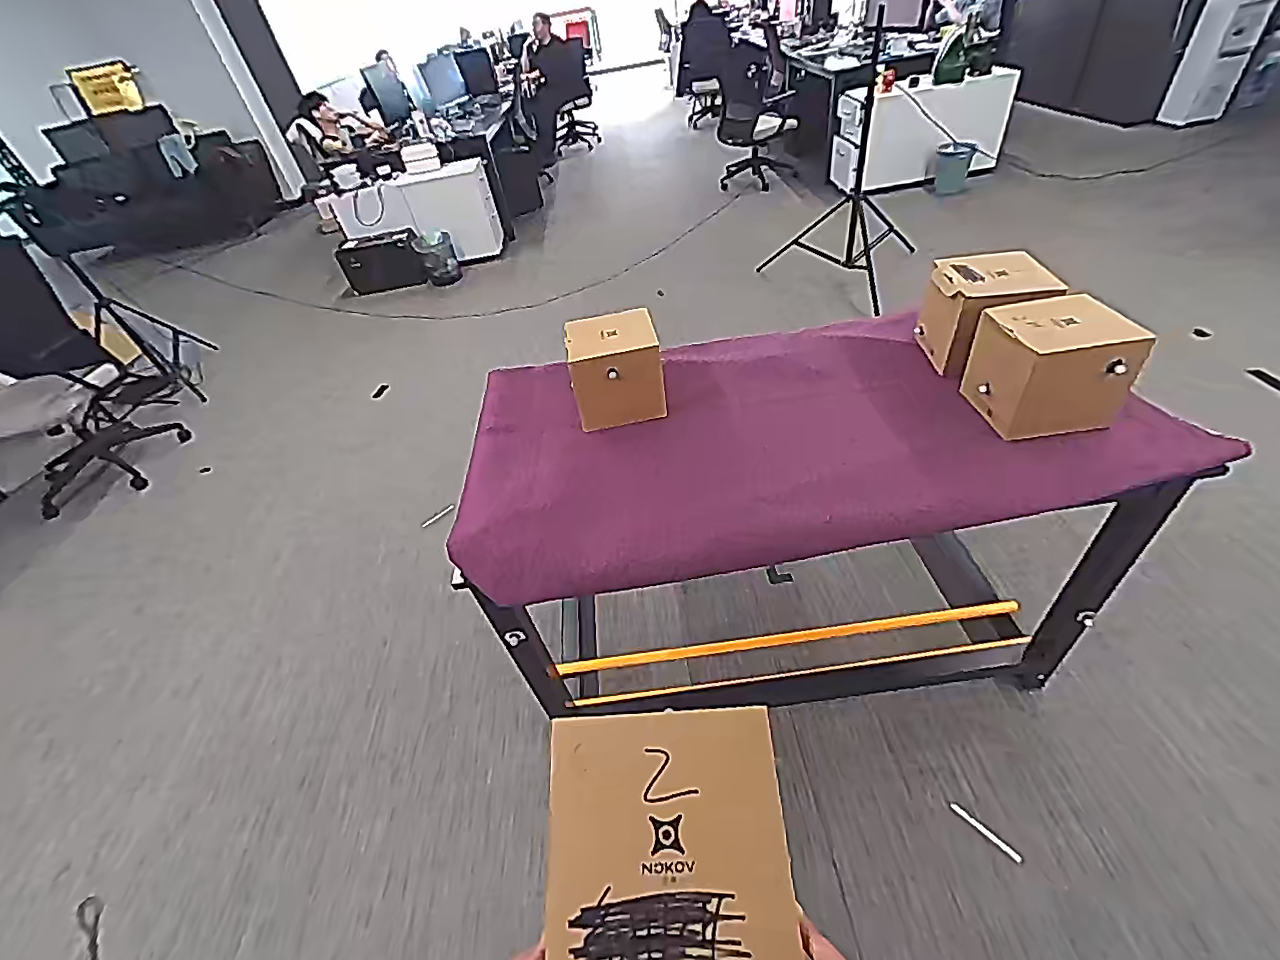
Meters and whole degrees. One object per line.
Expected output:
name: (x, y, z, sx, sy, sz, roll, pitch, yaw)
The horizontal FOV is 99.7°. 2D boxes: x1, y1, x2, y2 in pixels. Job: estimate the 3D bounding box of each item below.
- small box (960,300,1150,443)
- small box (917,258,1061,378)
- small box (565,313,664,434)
small box: (0.687, -0.183, 0.923, 0.179, 0.176, 0.168, -8, 40, 4)
small box: (0.671, -0.317, 1.071, 0.179, 0.176, 0.168, -4, 44, 6)
small box: (-0.050, -0.217, 1.113, 0.179, 0.176, 0.168, -11, 42, -1)
